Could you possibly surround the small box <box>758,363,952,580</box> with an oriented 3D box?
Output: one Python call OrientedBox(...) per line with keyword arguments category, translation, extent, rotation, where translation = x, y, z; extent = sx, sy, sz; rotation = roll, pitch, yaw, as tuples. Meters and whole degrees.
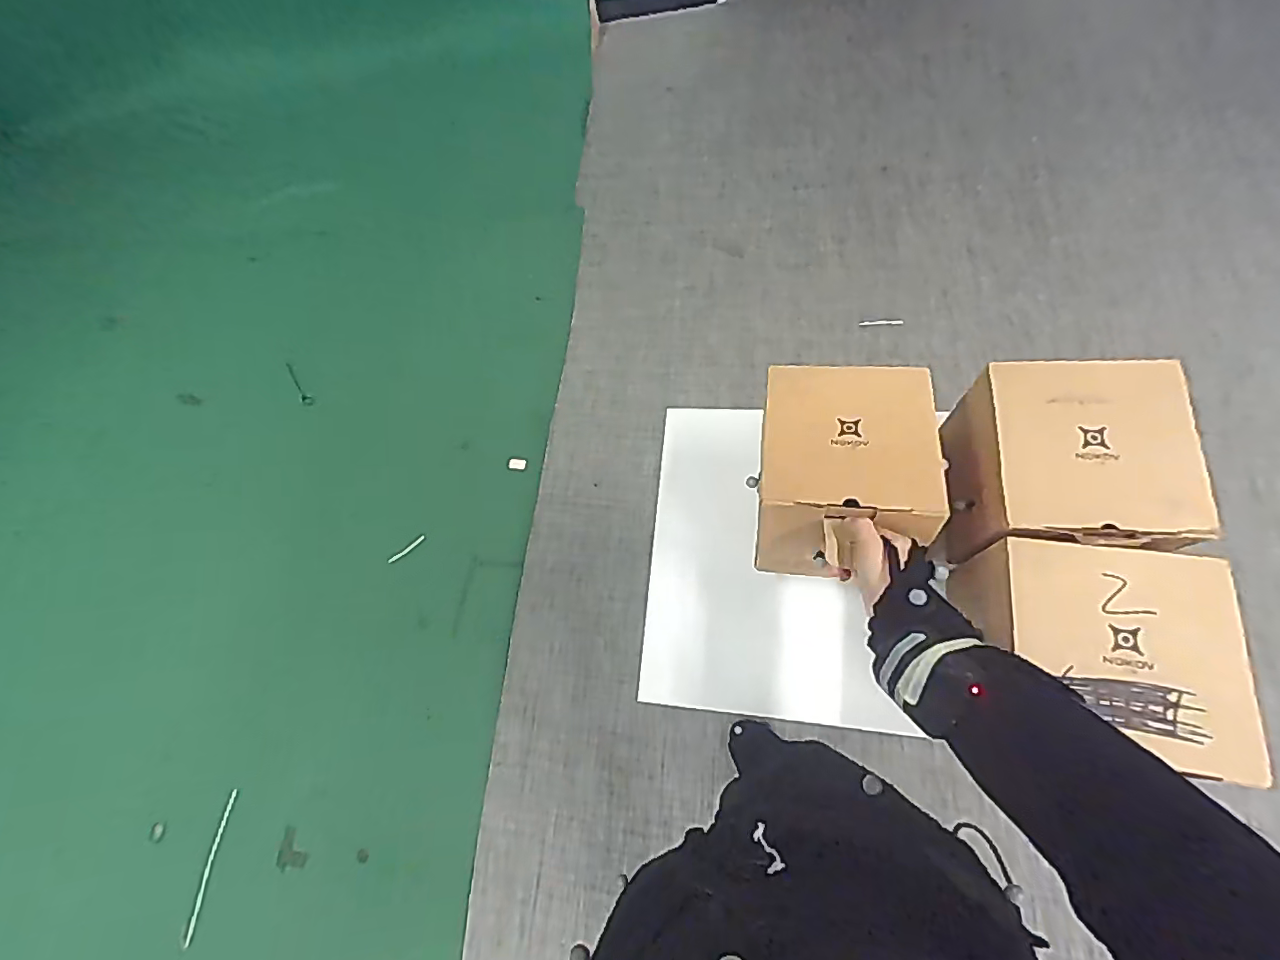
OrientedBox(category="small box", translation=(0.222, -0.008, 0.601), extent=(0.168, 0.176, 0.179), rotation=(3, 59, 13))
